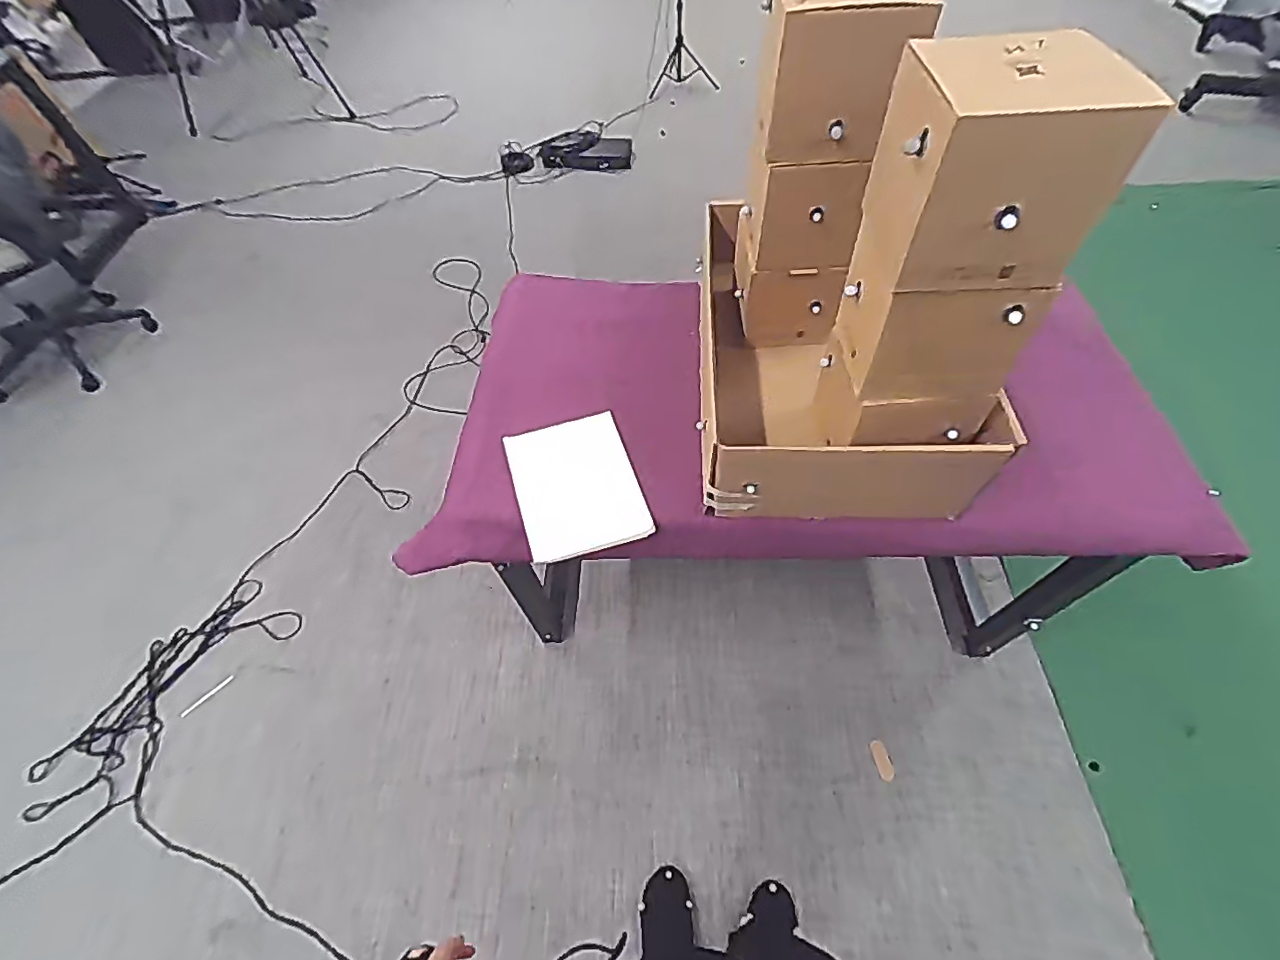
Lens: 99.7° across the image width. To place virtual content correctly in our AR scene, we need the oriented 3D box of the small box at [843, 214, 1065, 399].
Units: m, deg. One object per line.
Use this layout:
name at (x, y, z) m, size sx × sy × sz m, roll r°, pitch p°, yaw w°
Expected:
small box at (0.365, -0.215, 0.677) m, size 0.179 × 0.176 × 0.168 m, roll 1°, pitch 54°, yaw 4°

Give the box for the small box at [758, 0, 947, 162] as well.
small box at (0.261, -0.544, 0.714) m, size 0.179 × 0.176 × 0.168 m, roll 1°, pitch 56°, yaw 3°

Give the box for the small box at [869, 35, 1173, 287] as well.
small box at (0.349, -0.311, 0.543) m, size 0.168 × 0.176 × 0.179 m, roll 1°, pitch 54°, yaw 4°

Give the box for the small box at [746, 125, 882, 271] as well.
small box at (0.271, -0.450, 0.849) m, size 0.179 × 0.176 × 0.168 m, roll -2°, pitch 56°, yaw 3°
